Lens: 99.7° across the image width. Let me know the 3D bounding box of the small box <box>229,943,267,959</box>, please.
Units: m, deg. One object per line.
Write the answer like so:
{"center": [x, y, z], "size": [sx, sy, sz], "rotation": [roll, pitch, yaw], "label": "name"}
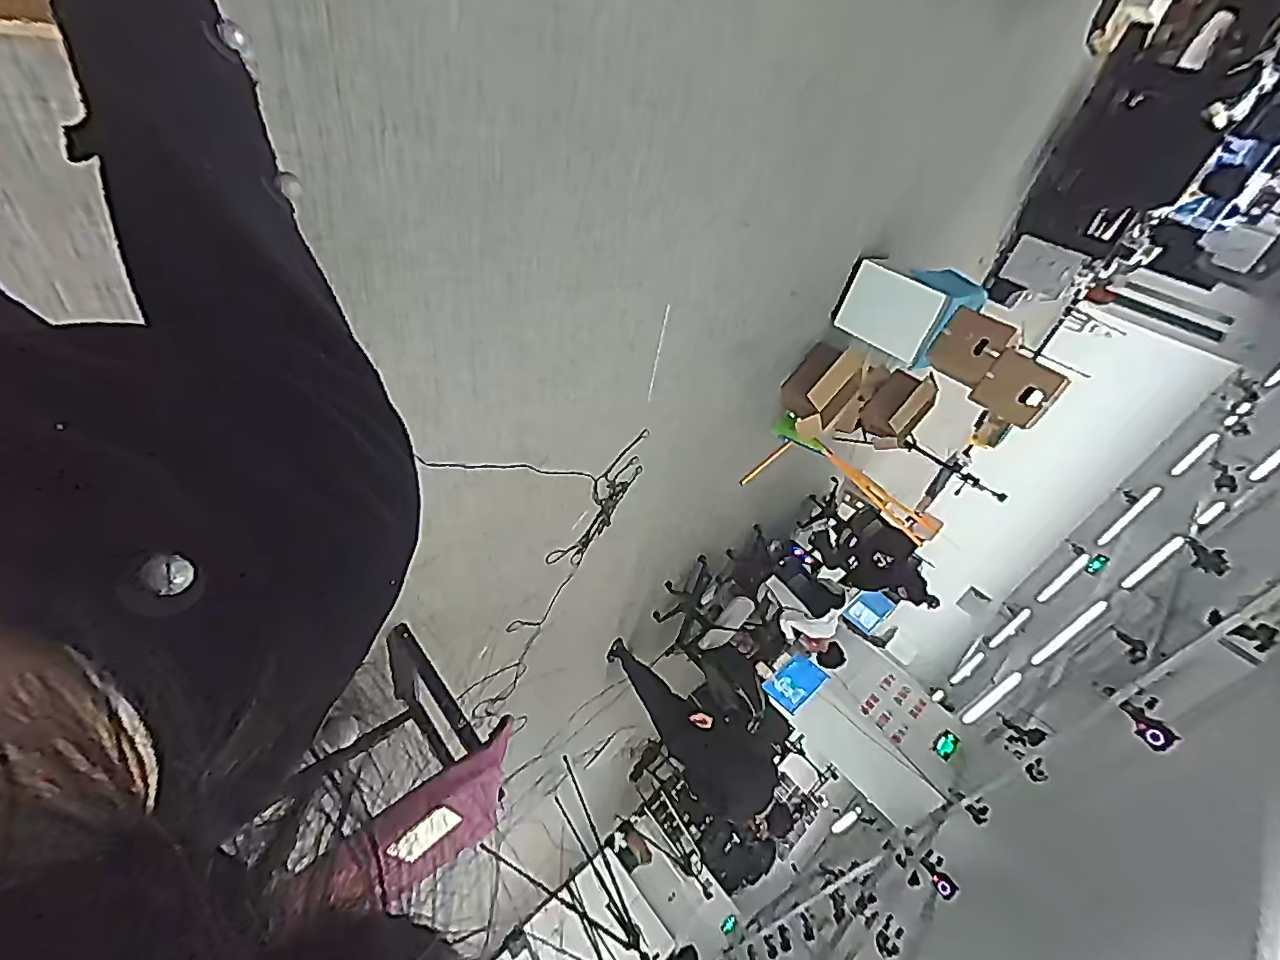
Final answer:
{"center": [-1.092, 1.405, 1.454], "size": [0.168, 0.176, 0.179], "rotation": [-23, 143, -39], "label": "small box"}
